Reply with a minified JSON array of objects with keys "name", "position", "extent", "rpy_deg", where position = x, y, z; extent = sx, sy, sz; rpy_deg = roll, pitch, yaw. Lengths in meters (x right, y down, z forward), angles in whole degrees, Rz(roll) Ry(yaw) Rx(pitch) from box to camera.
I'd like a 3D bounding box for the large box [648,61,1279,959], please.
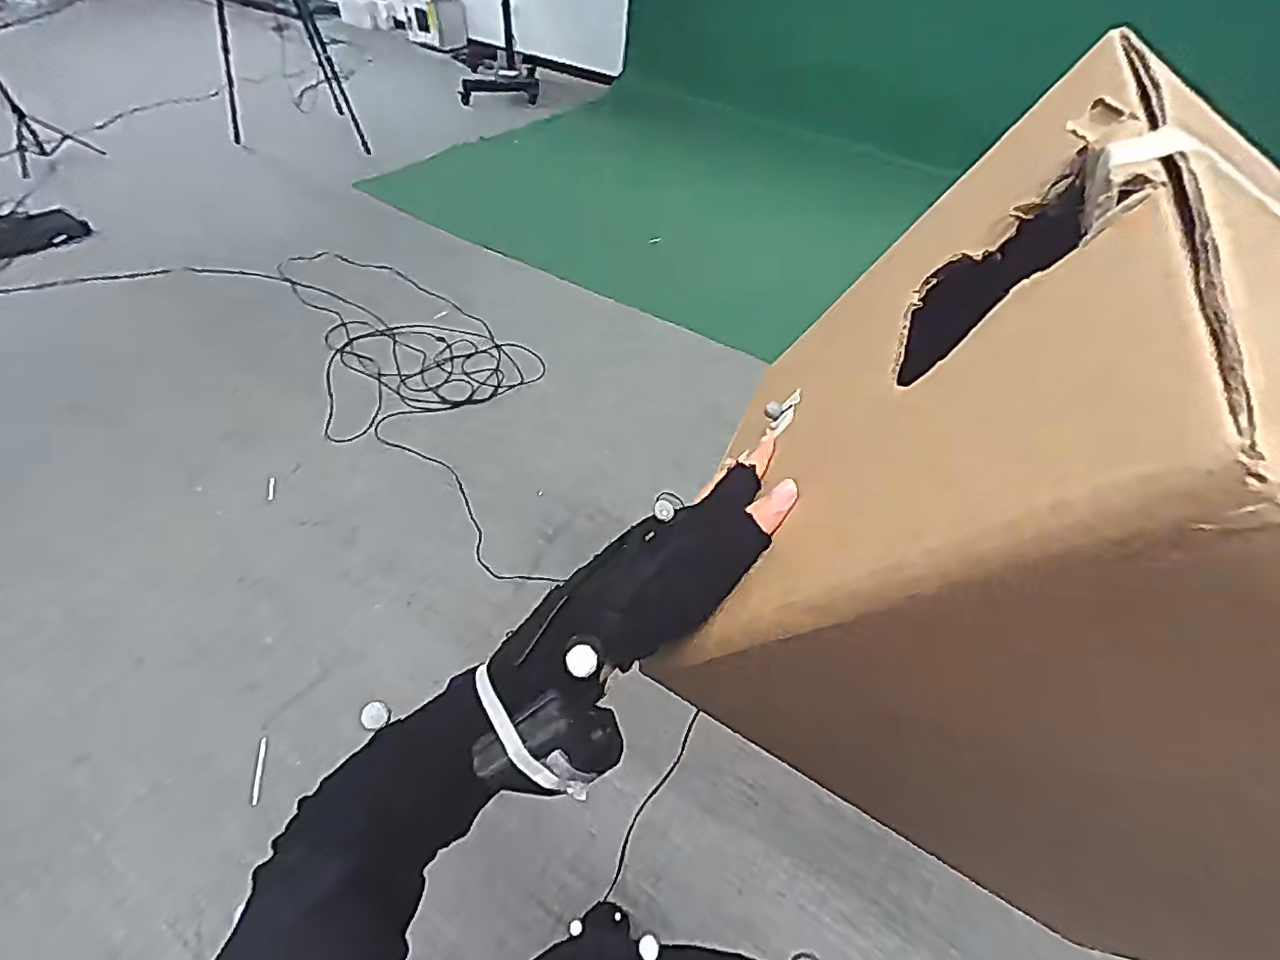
[{"name":"large box","position":[0.279,0.054,0.348],"extent":[0.408,0.320,0.320],"rpy_deg":[34,57,-7]}]
